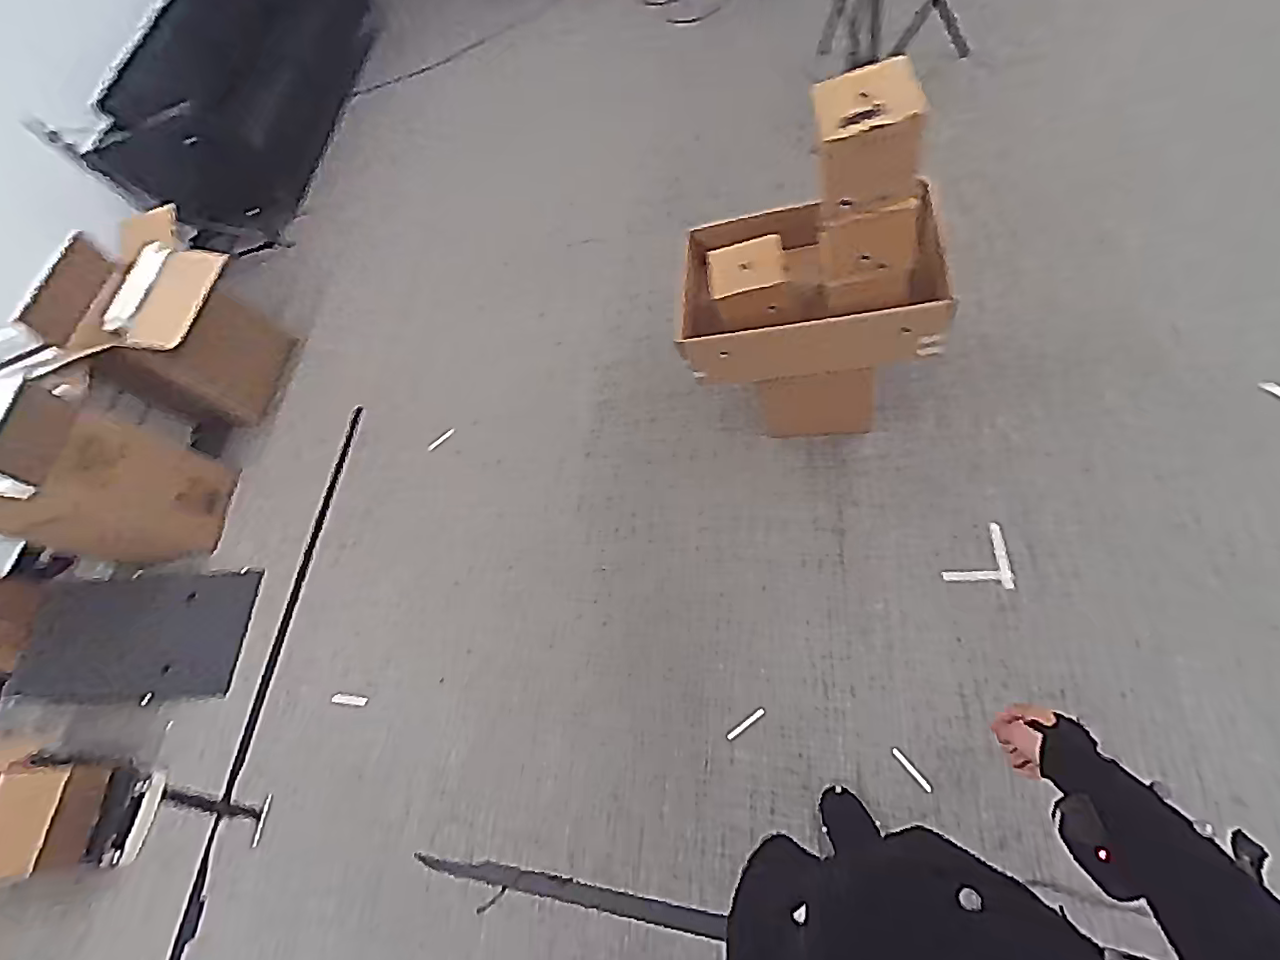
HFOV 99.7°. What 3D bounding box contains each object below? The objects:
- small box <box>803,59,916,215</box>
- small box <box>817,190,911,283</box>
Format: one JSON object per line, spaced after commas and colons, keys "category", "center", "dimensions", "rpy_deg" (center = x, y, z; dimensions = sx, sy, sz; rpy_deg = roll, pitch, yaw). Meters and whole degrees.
{"category": "small box", "center": [0.411, -0.635, 1.026], "dimensions": [0.168, 0.176, 0.179], "rpy_deg": [-9, 63, 16]}
{"category": "small box", "center": [0.471, -0.558, 1.159], "dimensions": [0.168, 0.176, 0.179], "rpy_deg": [-7, 64, 18]}
